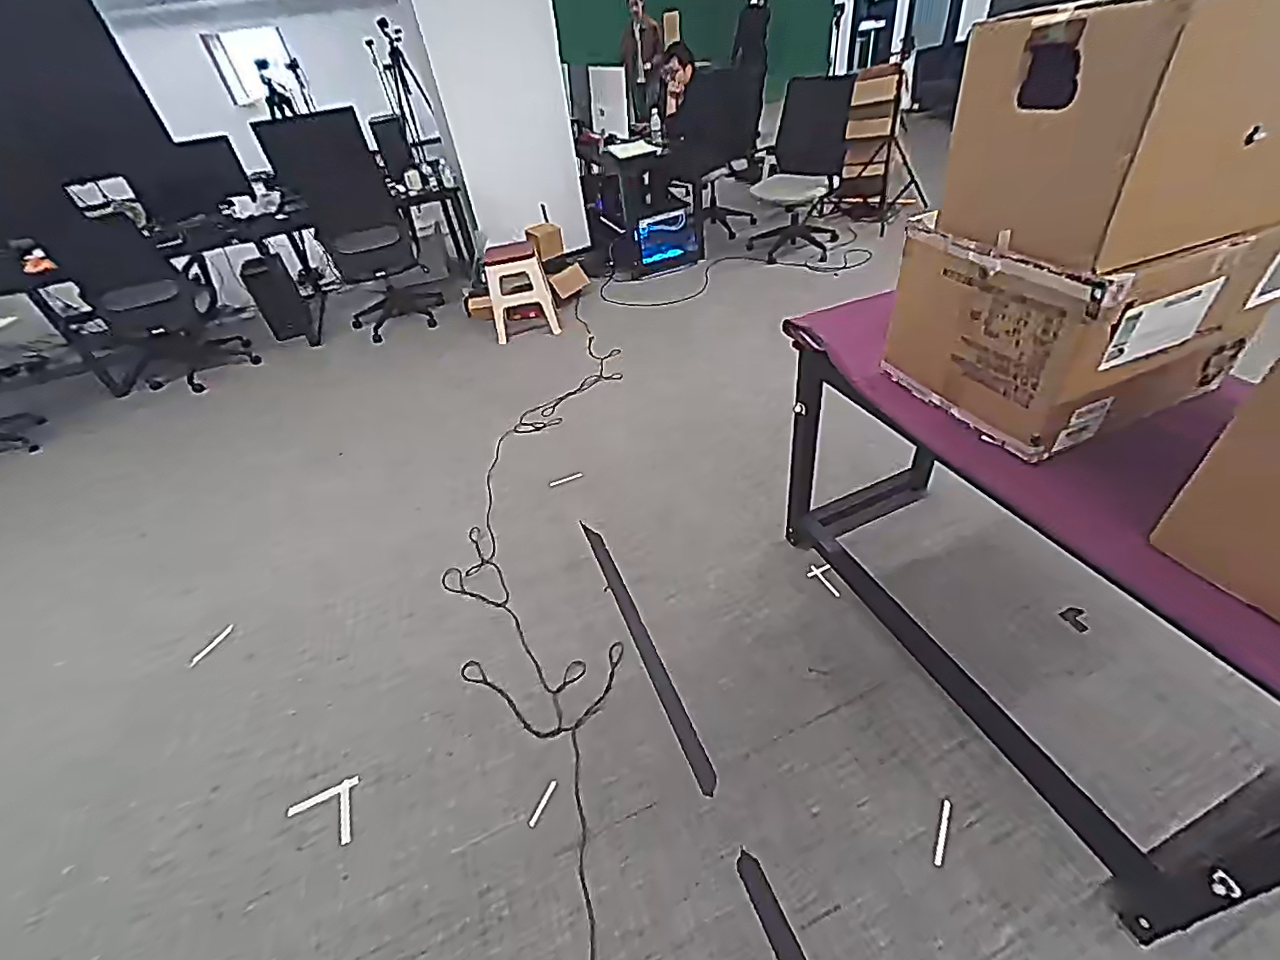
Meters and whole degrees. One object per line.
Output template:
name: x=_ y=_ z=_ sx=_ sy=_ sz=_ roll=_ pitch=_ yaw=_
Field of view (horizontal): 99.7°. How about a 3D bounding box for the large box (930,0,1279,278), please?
large box: x=0.749 y=-0.549 z=0.840 sx=0.408 sy=0.320 sz=0.320 roll=-19 pitch=37 yaw=-11
